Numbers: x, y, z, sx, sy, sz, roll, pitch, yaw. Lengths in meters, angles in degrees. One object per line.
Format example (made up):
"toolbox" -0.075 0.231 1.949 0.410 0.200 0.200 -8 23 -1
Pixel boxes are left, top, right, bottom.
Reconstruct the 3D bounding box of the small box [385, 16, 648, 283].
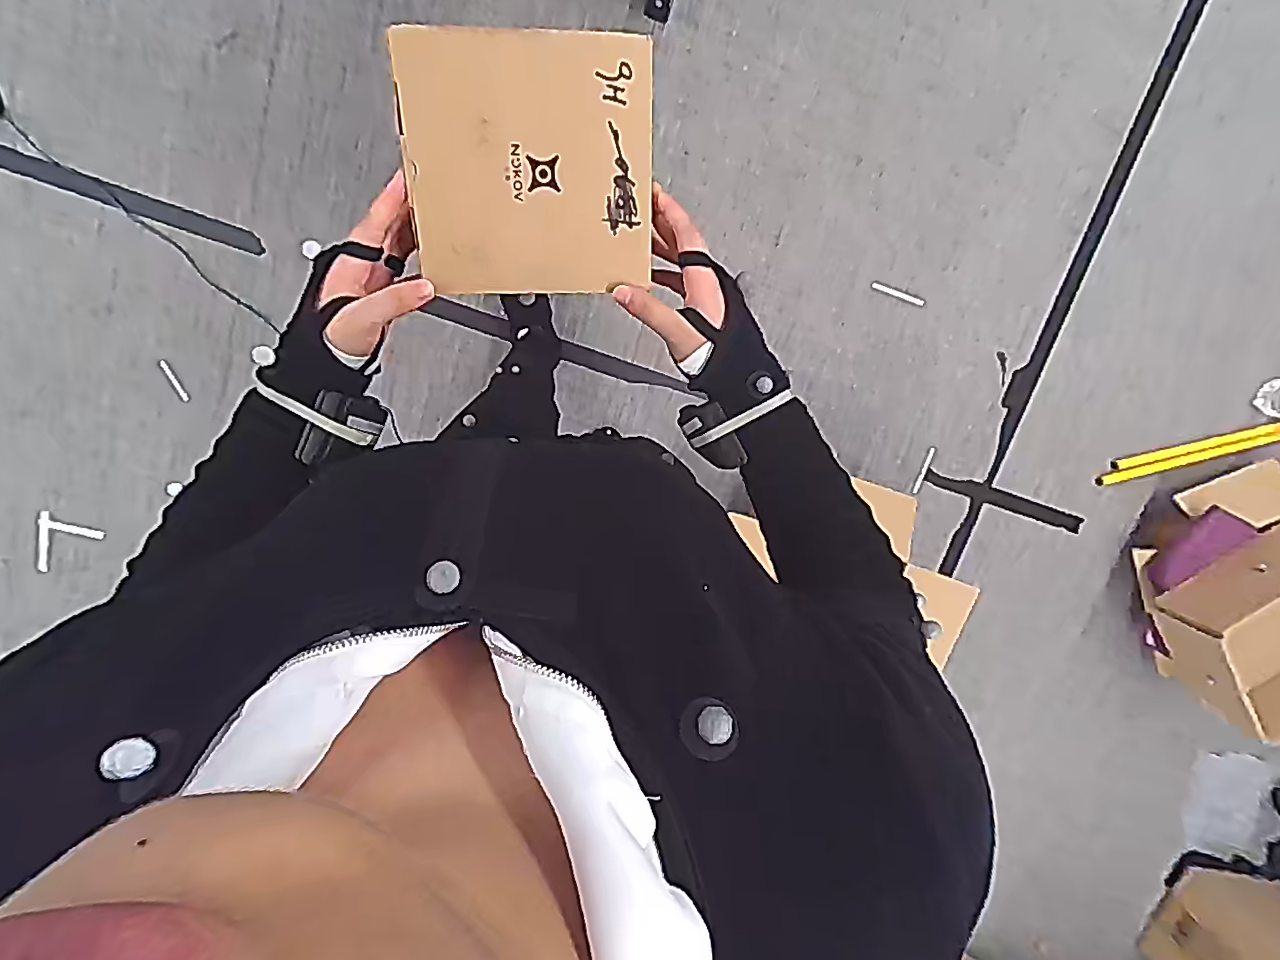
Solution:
"small box" -0.088 -0.257 0.460 0.179 0.176 0.168 -2 112 -5
